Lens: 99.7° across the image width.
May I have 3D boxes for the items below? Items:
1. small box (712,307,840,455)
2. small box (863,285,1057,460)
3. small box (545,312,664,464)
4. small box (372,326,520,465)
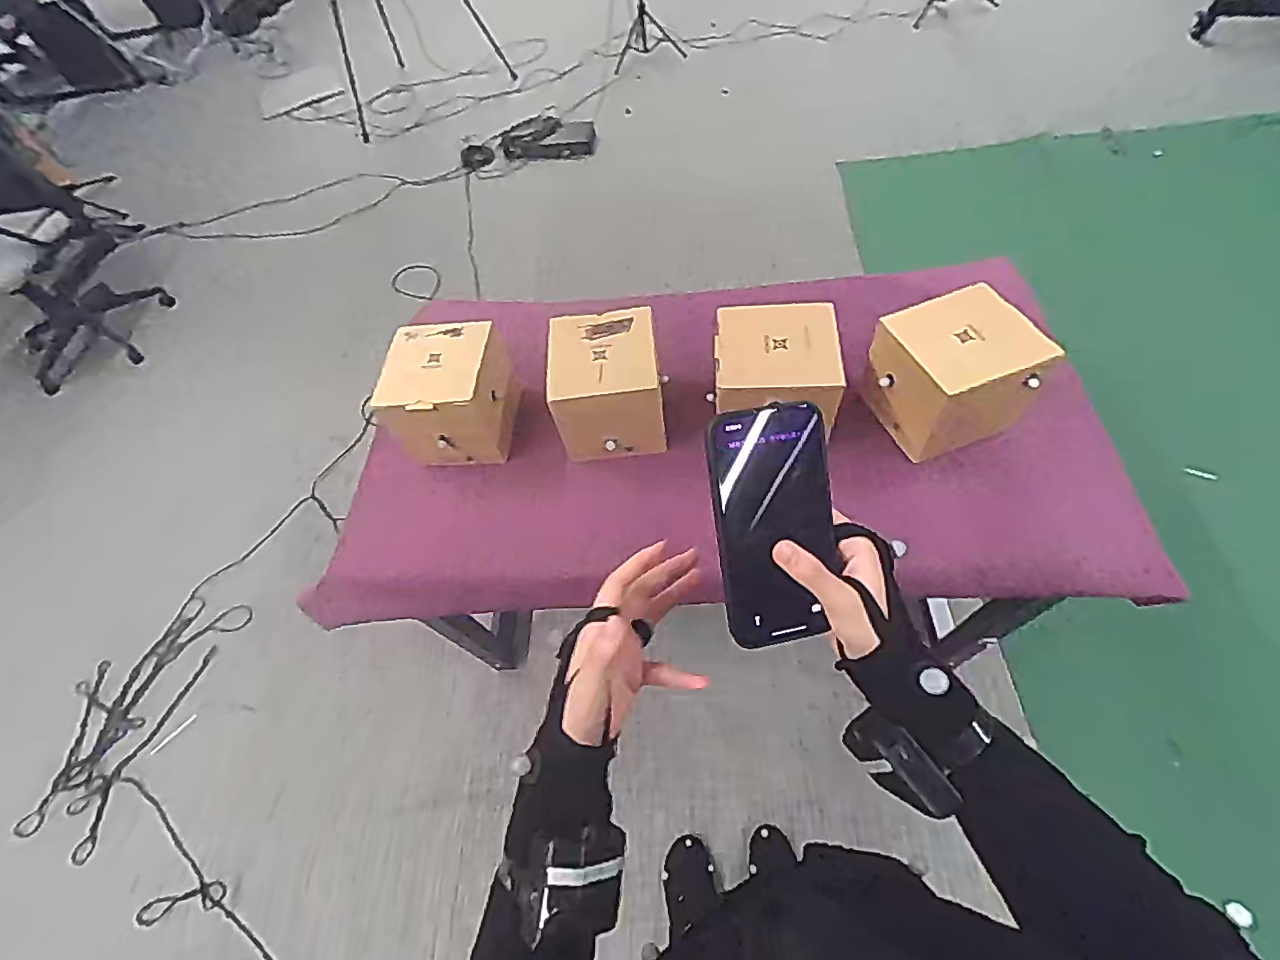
[{"bbox_3d":[0.206,-0.151,0.858,0.179,0.176,0.168,0,59,8],"label":"small box"},{"bbox_3d":[0.462,-0.156,0.822,0.179,0.176,0.168,-20,57,-4],"label":"small box"},{"bbox_3d":[-0.051,-0.148,0.893,0.168,0.176,0.179,-6,58,5],"label":"small box"},{"bbox_3d":[-0.317,-0.135,0.925,0.168,0.176,0.179,-2,59,7],"label":"small box"}]
